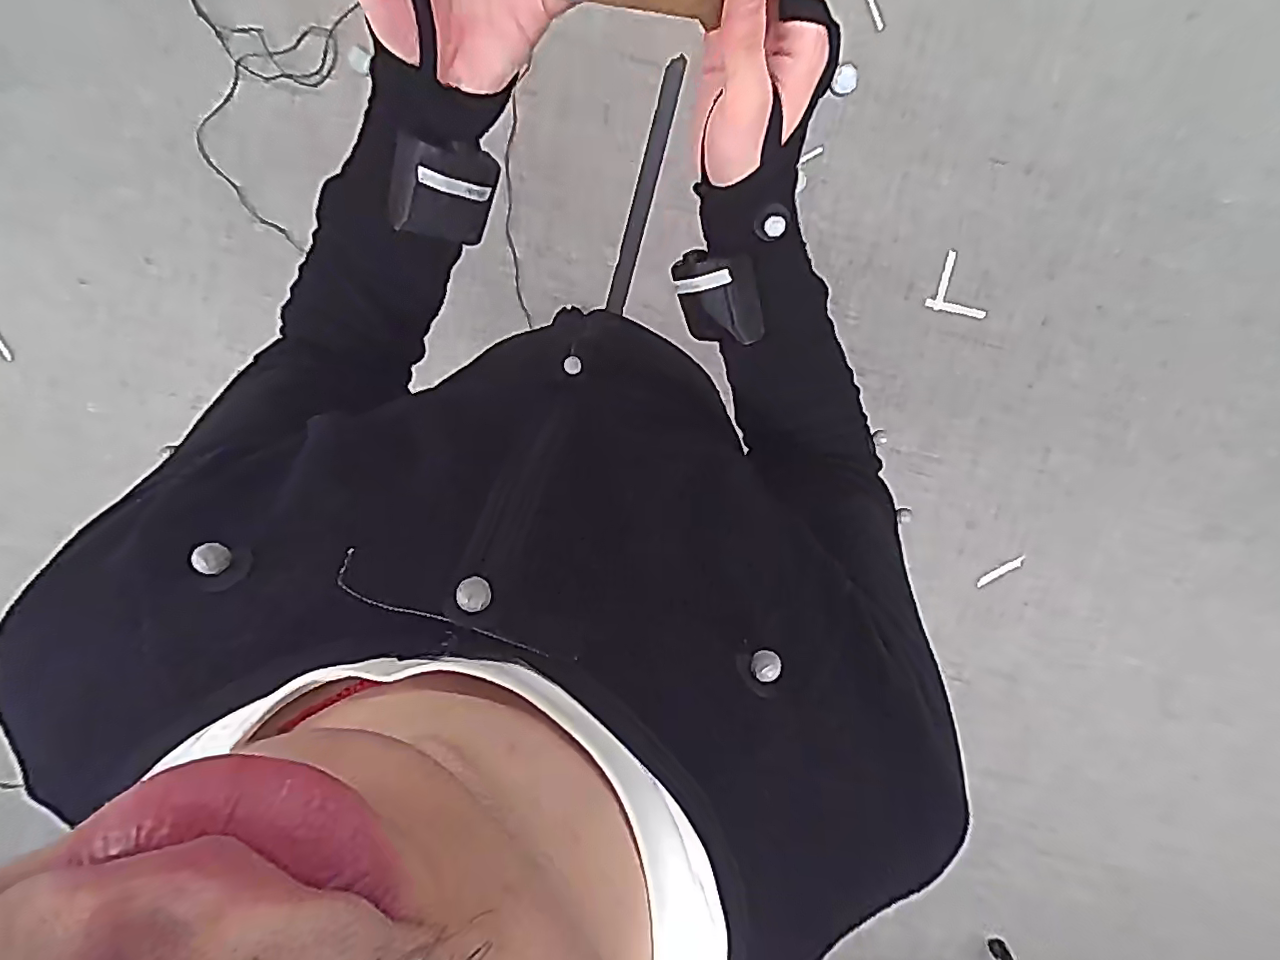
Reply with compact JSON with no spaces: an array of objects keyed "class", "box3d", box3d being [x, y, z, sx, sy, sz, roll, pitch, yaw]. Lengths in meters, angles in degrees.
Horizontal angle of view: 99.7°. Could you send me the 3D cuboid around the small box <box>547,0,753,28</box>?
[{"class":"small box","box3d":[-0.003,-0.294,0.164,0.168,0.176,0.179,-7,102,-17]}]
